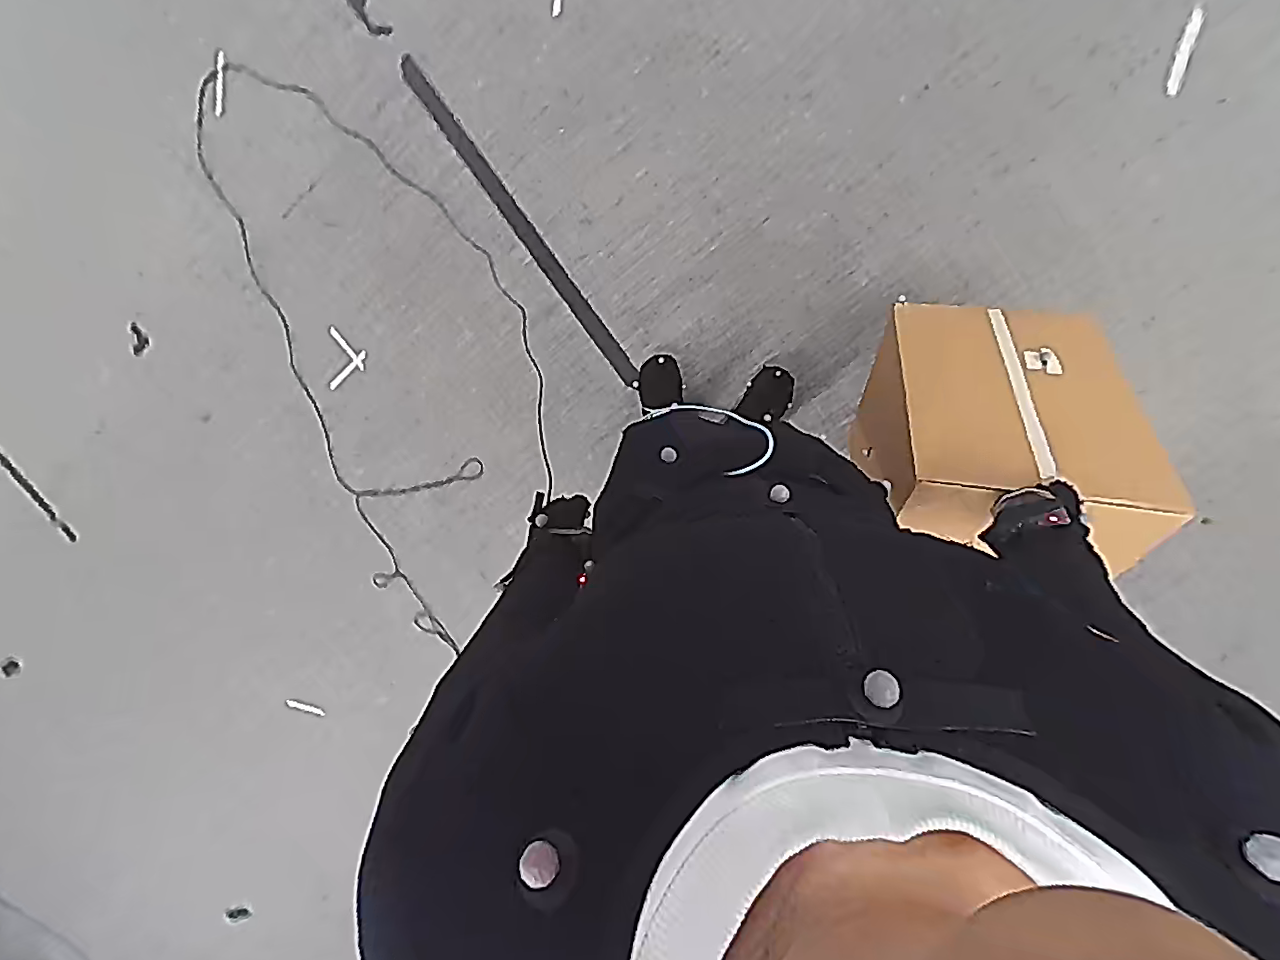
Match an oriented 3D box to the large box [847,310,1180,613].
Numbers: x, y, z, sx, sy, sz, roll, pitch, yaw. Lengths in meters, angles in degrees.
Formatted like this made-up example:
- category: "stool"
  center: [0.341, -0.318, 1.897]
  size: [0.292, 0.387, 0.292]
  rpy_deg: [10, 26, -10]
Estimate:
- category: "large box"
  center: [0.552, -0.036, 0.915]
  size: [0.320, 0.408, 0.320]
  rpy_deg: [7, 140, 9]
